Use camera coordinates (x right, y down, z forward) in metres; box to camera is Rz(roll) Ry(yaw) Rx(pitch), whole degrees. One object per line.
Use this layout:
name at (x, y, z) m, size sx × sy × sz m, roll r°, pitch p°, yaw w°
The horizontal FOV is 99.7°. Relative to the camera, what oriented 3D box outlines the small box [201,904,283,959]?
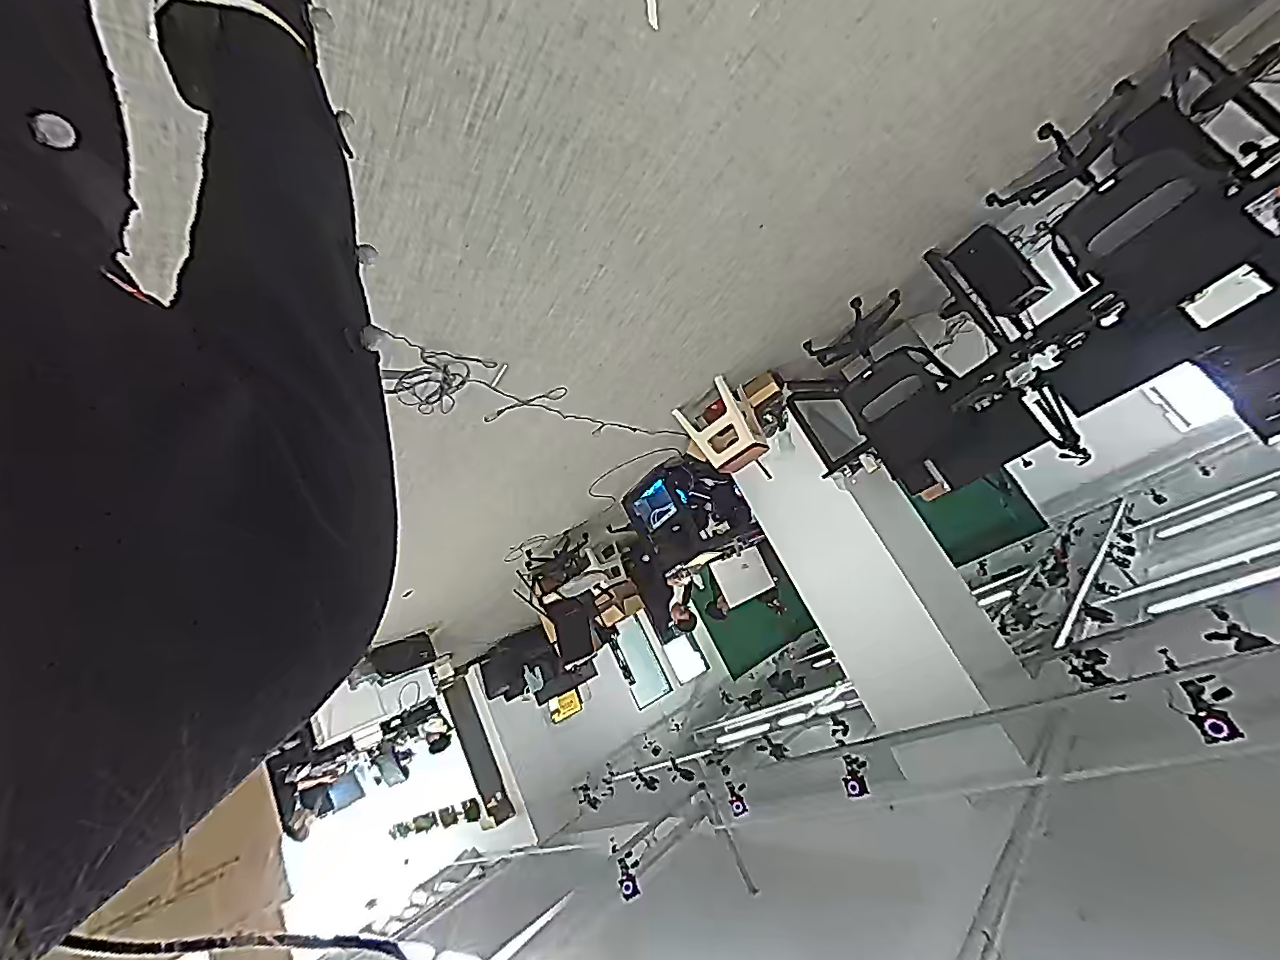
small box at (-1.201, 1.422, 1.627) m, size 0.179 × 0.176 × 0.168 m, roll -11°, pitch 157°, yaw -43°
